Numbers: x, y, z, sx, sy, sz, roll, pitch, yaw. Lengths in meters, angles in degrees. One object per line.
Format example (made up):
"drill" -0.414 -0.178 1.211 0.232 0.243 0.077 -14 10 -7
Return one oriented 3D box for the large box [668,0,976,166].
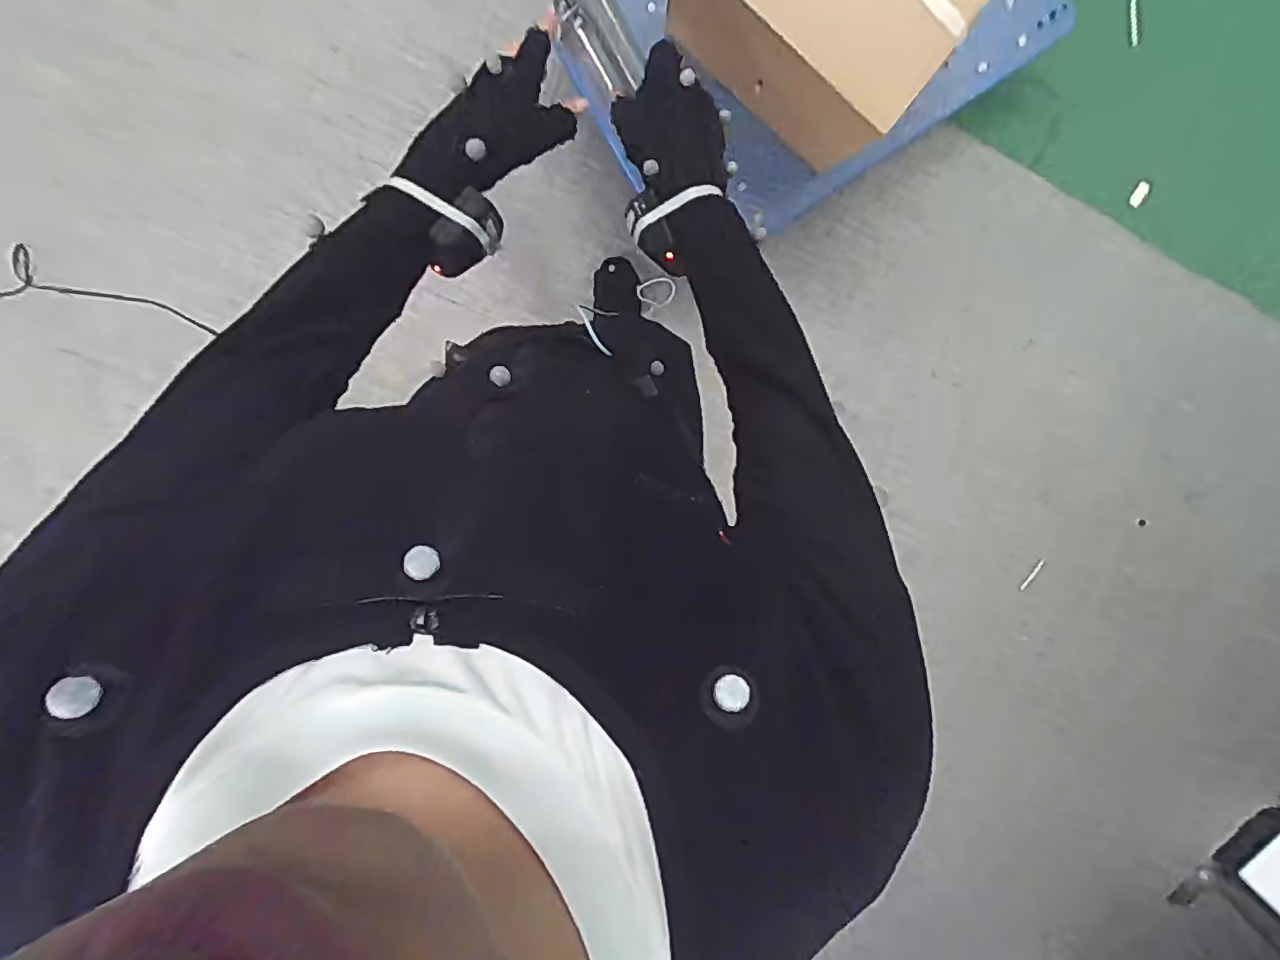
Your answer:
"large box" 0.296 -0.810 0.891 0.408 0.320 0.320 35 105 -11
